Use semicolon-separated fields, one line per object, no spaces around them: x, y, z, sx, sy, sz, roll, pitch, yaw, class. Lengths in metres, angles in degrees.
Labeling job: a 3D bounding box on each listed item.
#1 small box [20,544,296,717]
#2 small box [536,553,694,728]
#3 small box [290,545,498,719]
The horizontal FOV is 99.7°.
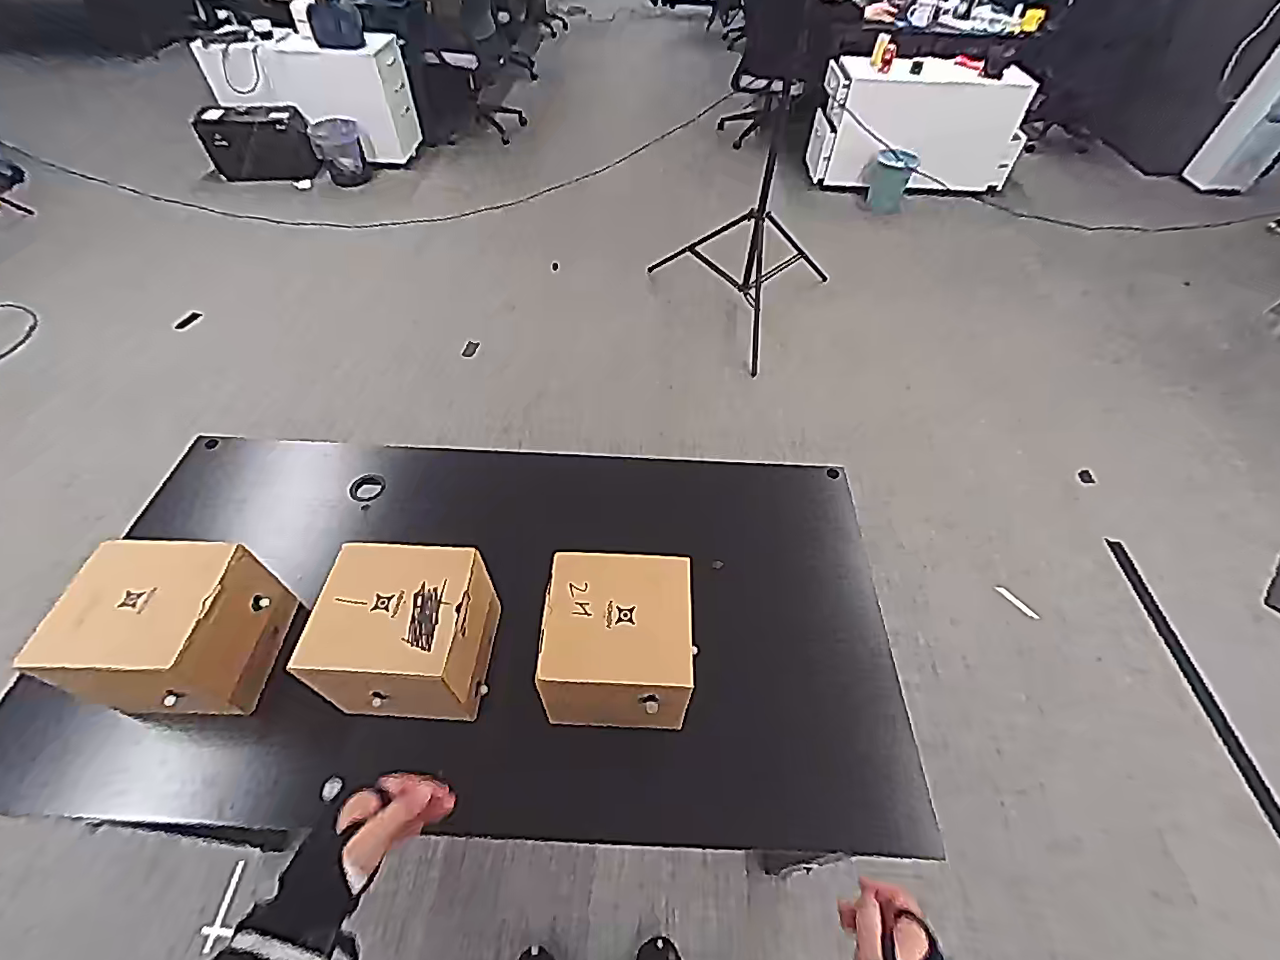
-0.592;0.198;0.701;0.179;0.176;0.168;0;50;-1;small box
-0.027;0.212;0.704;0.179;0.176;0.168;2;50;1;small box
-0.297;0.202;0.705;0.179;0.176;0.168;2;51;1;small box
